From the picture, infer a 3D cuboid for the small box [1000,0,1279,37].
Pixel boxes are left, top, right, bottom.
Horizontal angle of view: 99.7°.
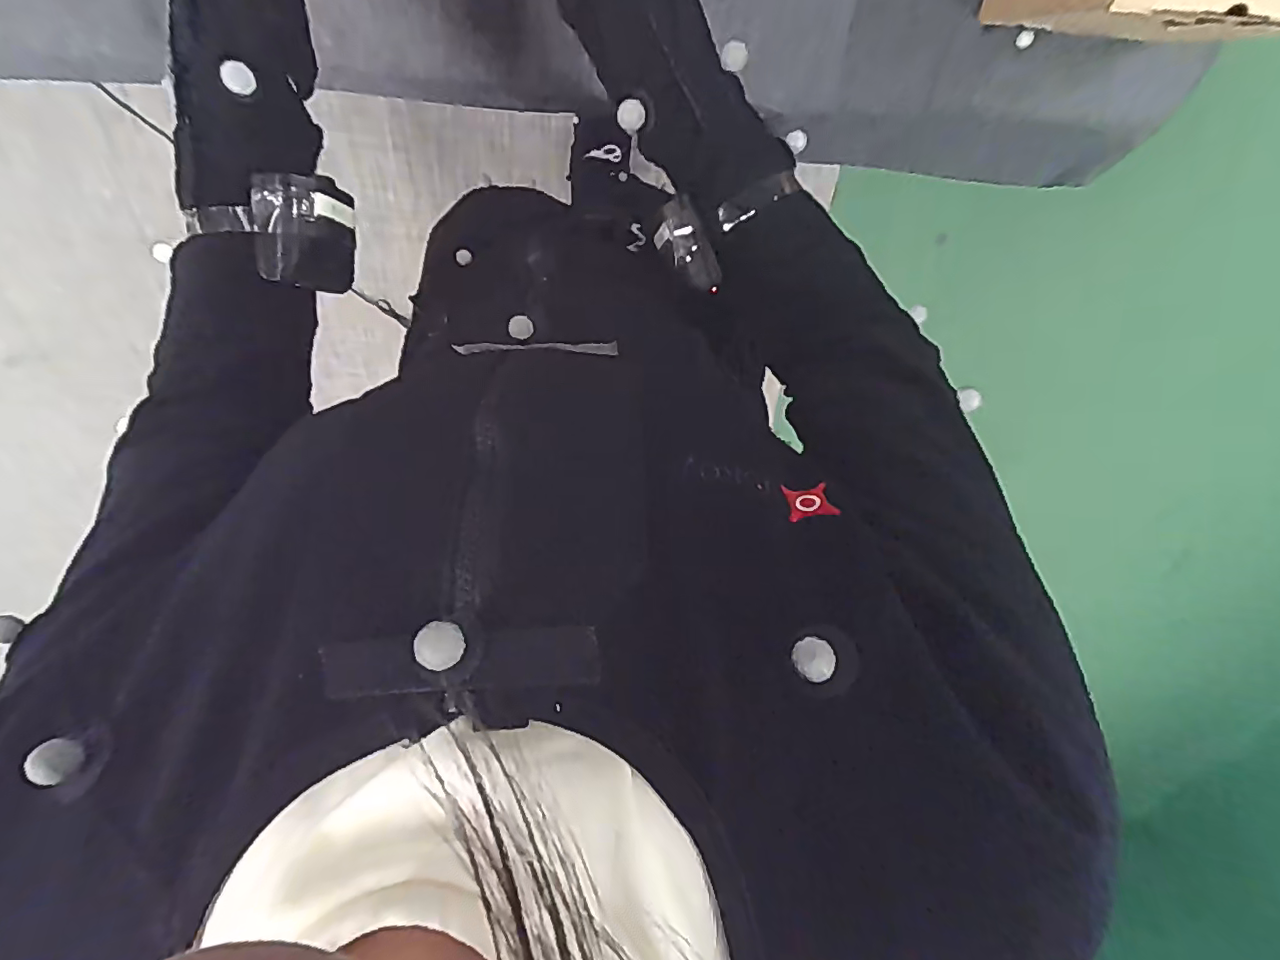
[{"bbox_3d":[0.374,-0.409,0.352,0.168,0.176,0.179,3,127,-3],"label":"small box"}]
